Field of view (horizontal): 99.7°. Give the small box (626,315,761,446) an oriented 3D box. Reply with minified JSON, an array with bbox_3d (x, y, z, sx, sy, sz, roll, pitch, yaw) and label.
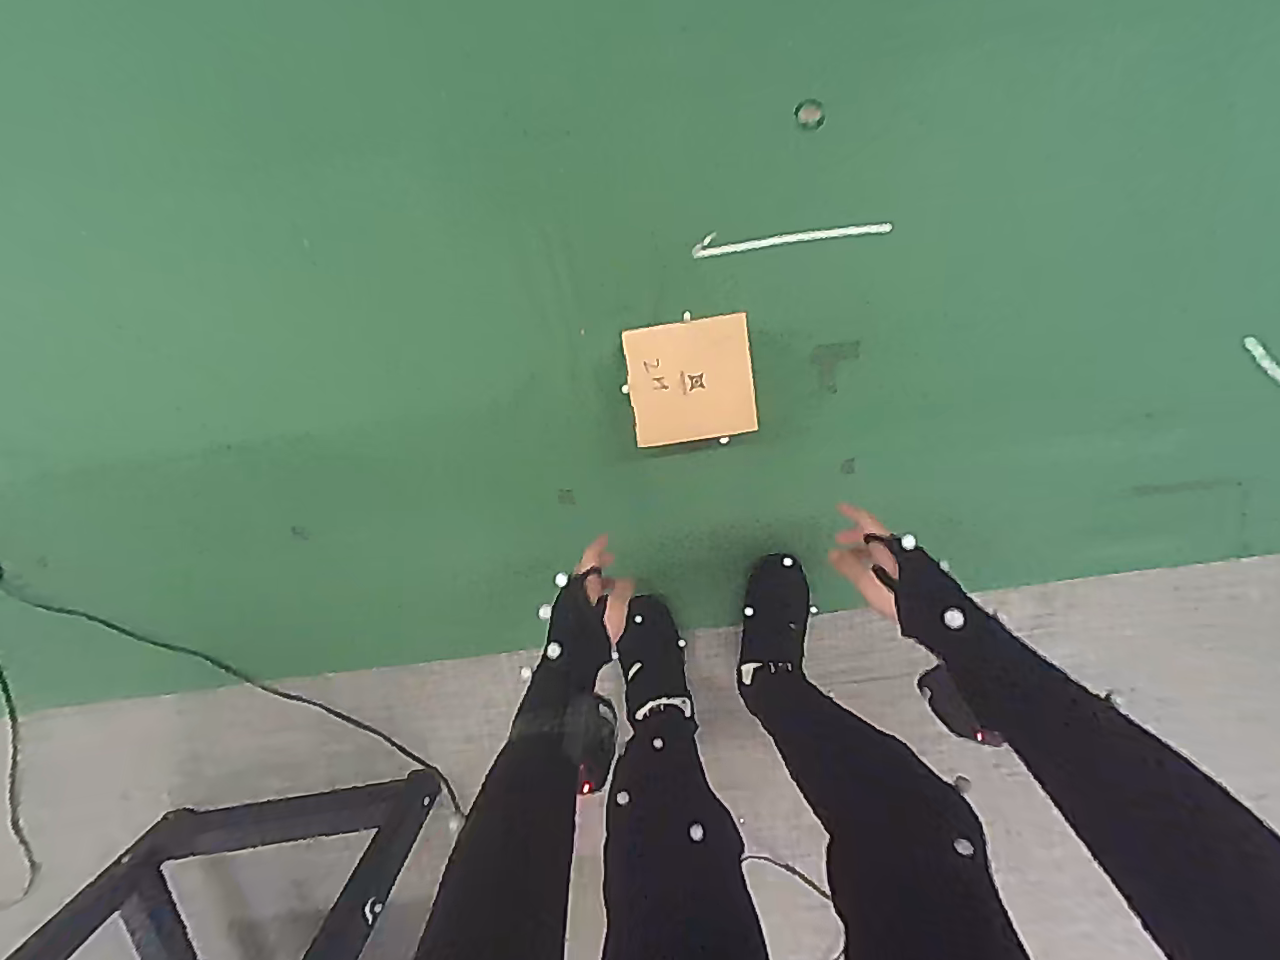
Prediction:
[{"bbox_3d":[0.077,-0.154,0.835,0.179,0.176,0.168,-8,100,3],"label":"small box"}]
